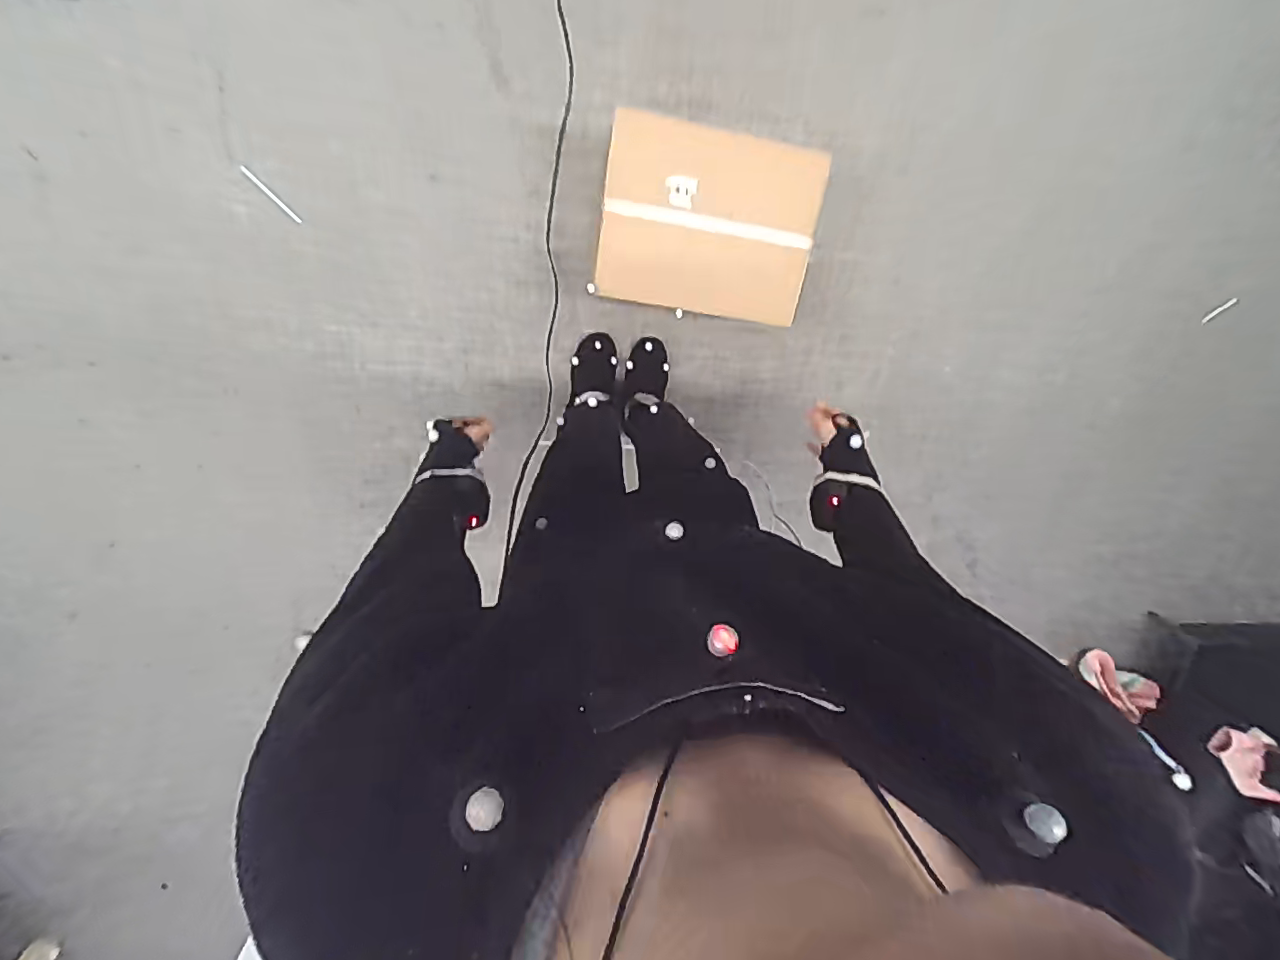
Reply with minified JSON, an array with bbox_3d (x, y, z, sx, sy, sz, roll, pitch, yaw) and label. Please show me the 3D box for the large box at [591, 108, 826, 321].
[{"bbox_3d":[0.115,-0.537,1.153,0.408,0.320,0.320,7,109,-8],"label":"large box"}]
